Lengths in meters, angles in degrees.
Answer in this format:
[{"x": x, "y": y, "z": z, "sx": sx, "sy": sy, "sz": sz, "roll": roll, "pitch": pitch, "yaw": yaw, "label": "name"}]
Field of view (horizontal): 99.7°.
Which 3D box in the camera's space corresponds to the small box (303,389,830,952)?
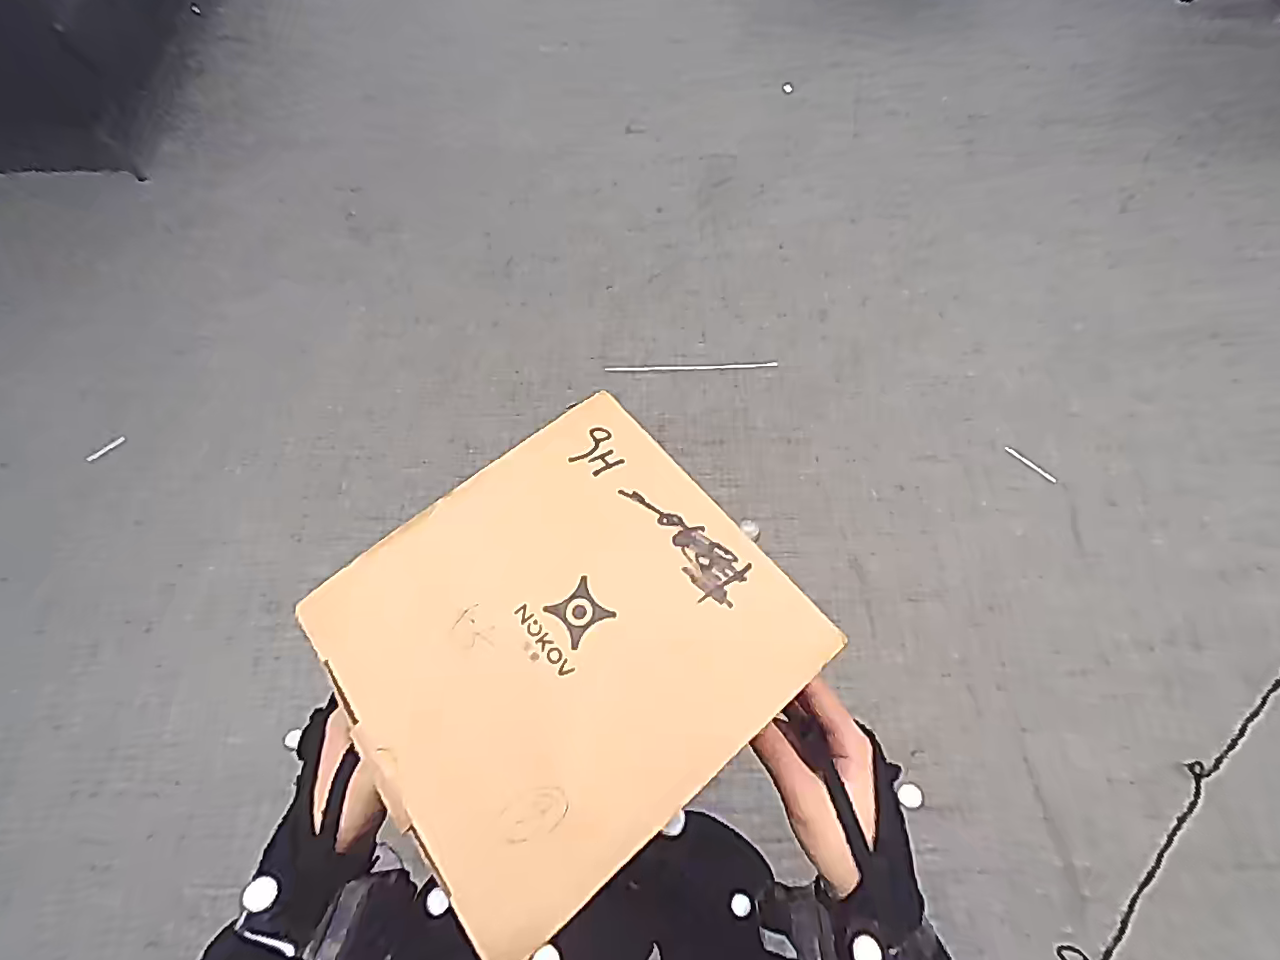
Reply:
[{"x": -0.031, "y": 0.091, "z": 0.303, "sx": 0.179, "sy": 0.176, "sz": 0.168, "roll": -37, "pitch": 69, "yaw": -13, "label": "small box"}]
